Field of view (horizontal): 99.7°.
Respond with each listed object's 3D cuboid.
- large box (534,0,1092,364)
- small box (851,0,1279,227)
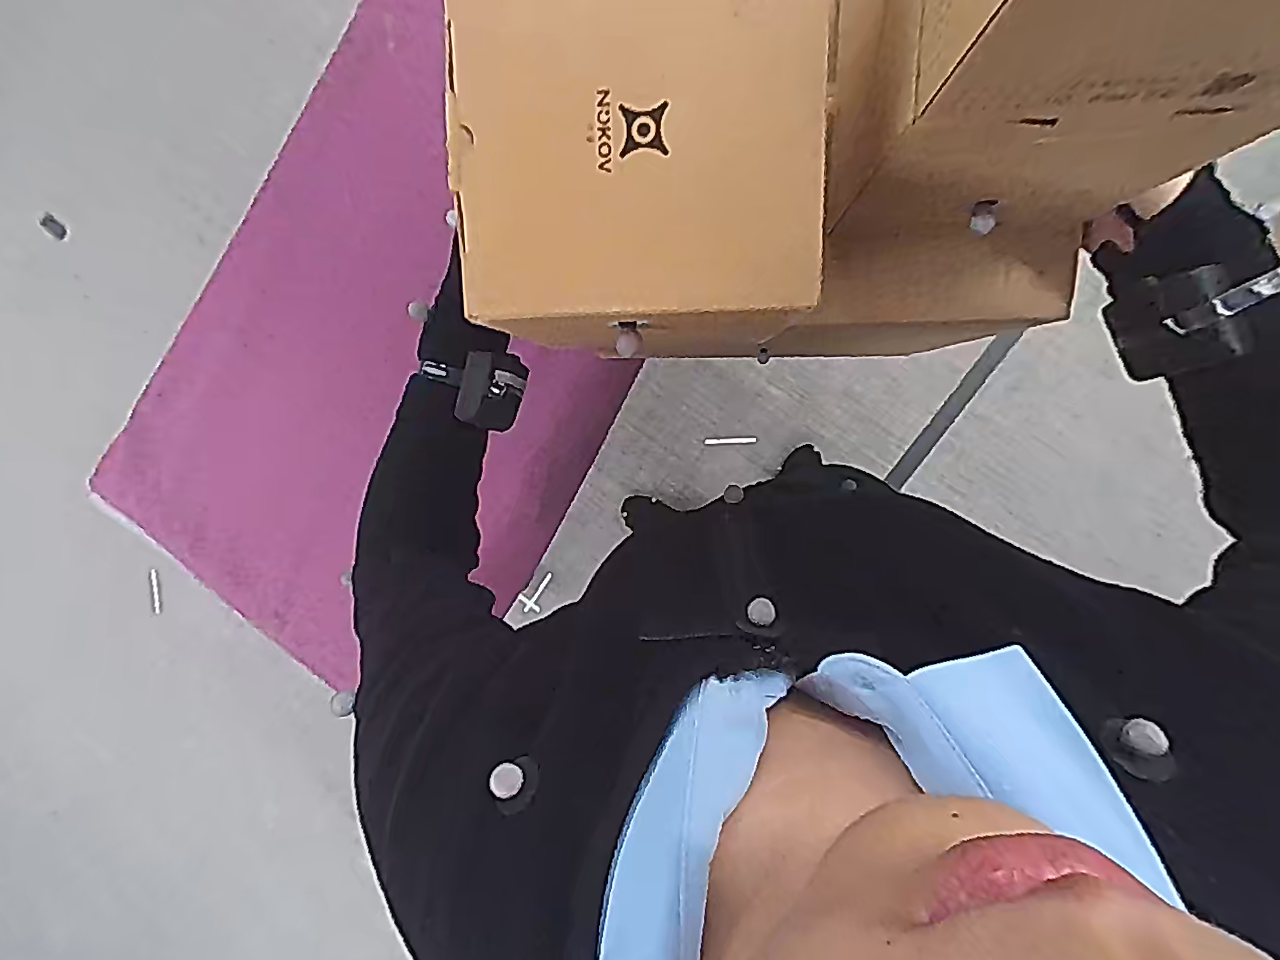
[{"bbox_3d":[0.139,-0.289,0.539,0.408,0.320,0.320,0,96,7],"label":"large box"},{"bbox_3d":[0.220,-0.252,0.285,0.168,0.176,0.179,2,99,7],"label":"small box"}]
